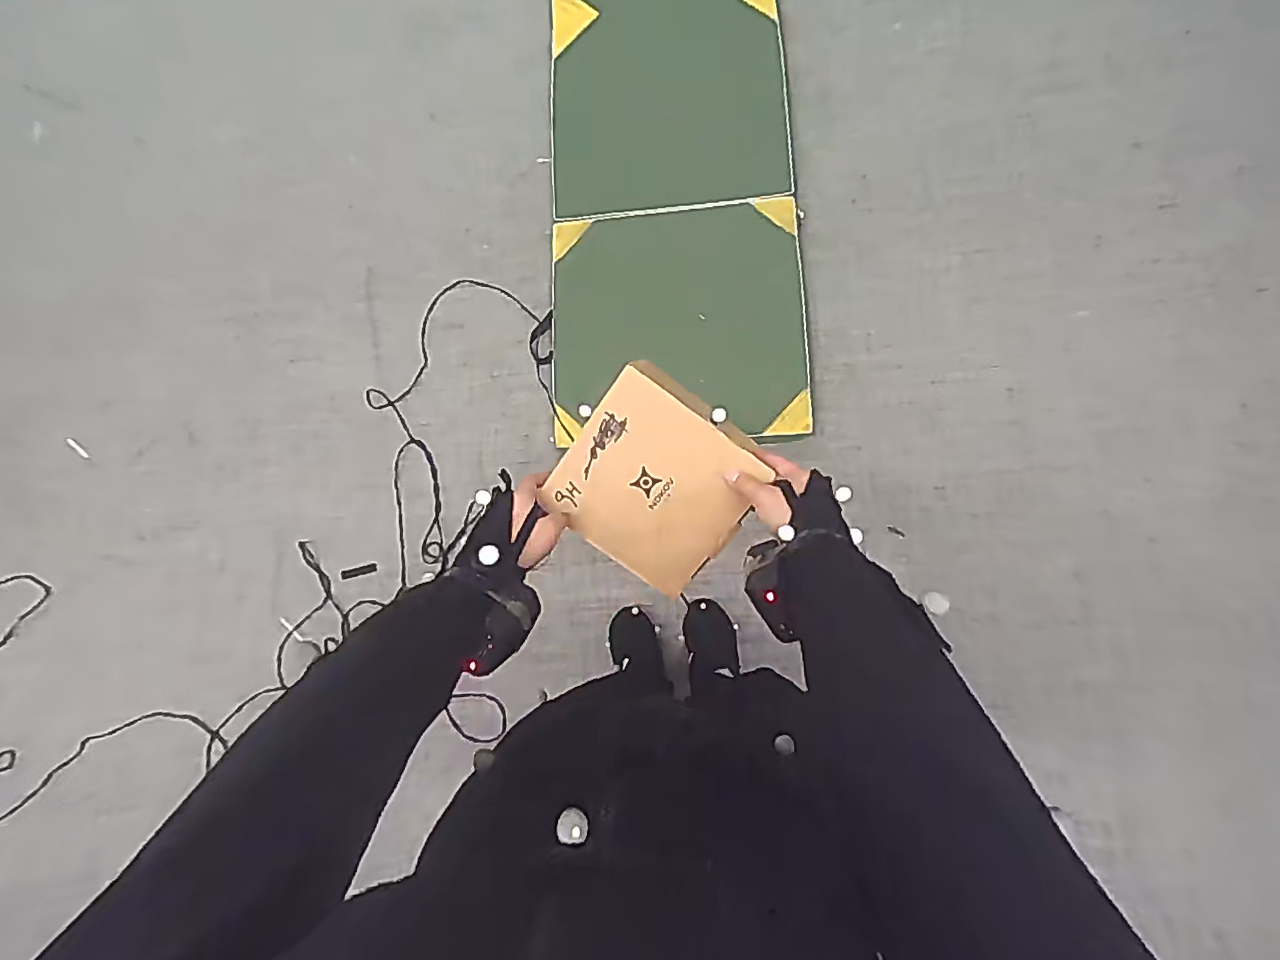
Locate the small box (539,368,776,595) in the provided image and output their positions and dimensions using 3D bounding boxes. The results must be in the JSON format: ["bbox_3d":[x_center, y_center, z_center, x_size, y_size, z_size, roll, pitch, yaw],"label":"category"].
[{"bbox_3d":[0.021,-0.012,0.600,0.179,0.176,0.168,36,103,-4],"label":"small box"}]
